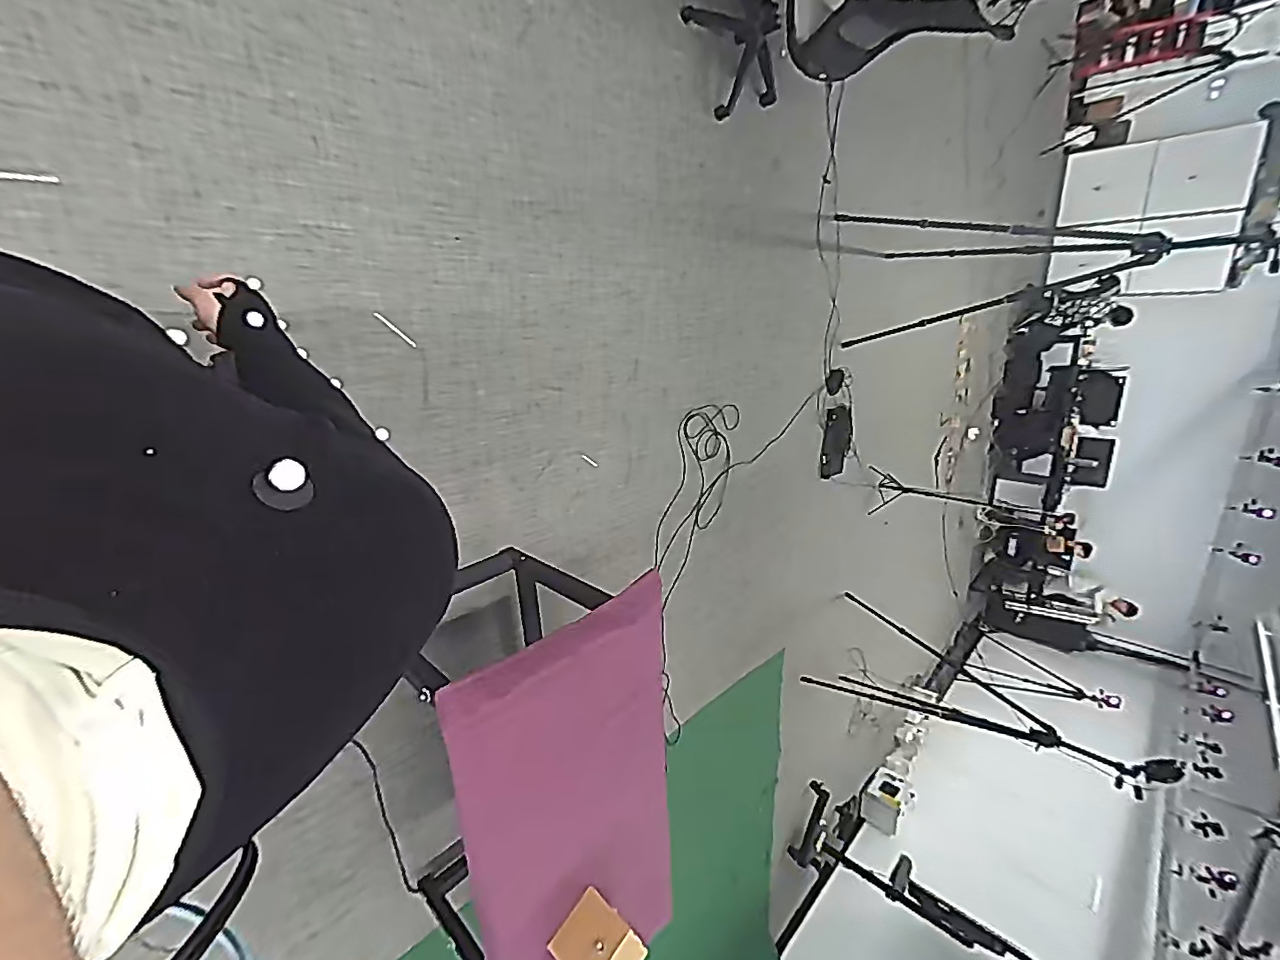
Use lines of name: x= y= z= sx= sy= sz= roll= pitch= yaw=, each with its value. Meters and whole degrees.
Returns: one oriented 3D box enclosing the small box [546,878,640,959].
small box: x=-0.135 y=1.260 z=1.485 sx=0.179 sy=0.176 sz=0.168 roll=-41 pitch=127 yaw=-31
